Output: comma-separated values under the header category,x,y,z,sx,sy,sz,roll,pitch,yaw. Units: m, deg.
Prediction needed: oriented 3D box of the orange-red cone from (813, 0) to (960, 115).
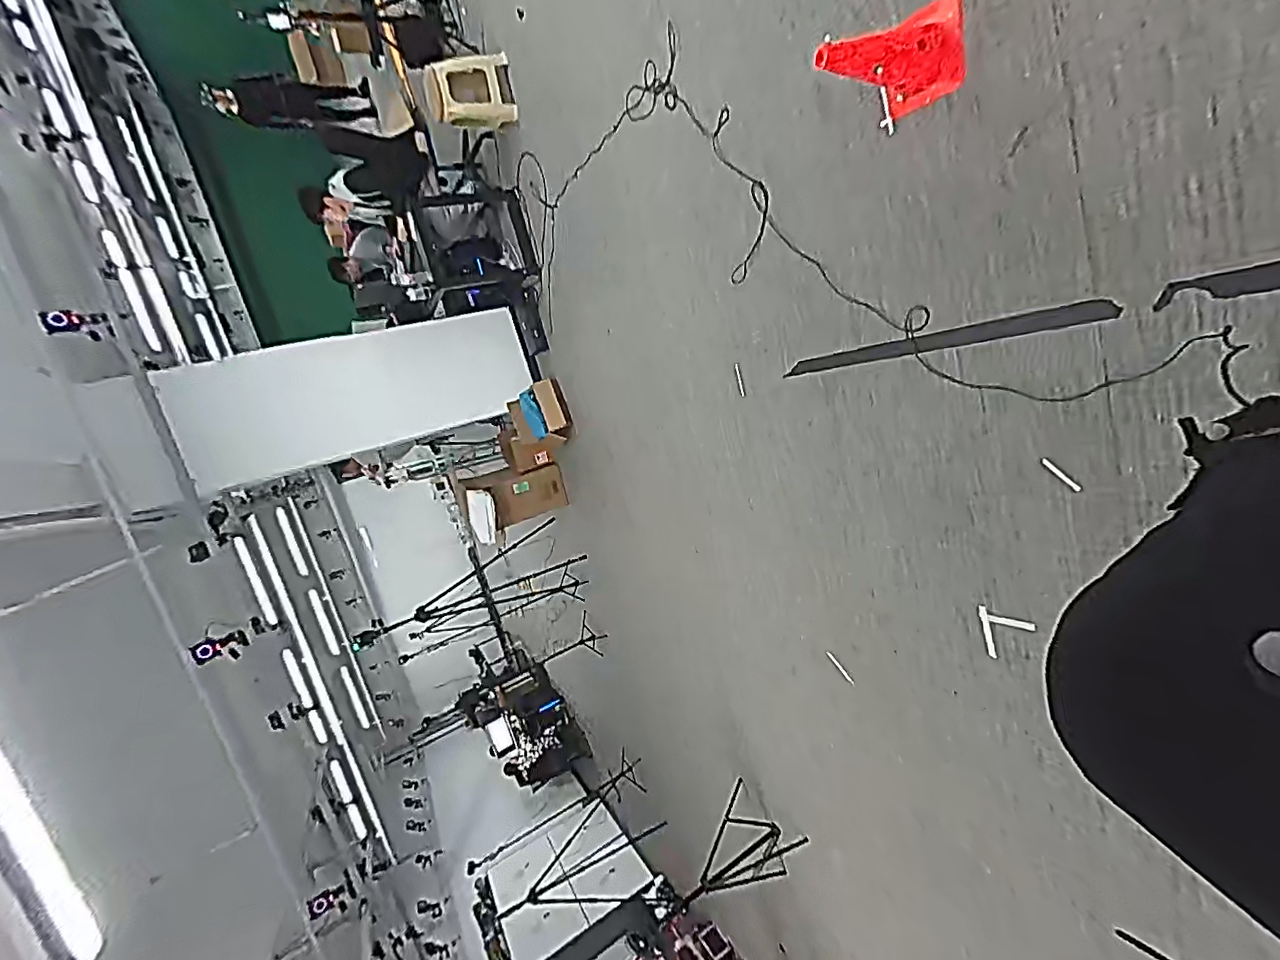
category,x,y,z,sx,sy,sz,roll,pitch,yaw
orange-red cone,0.538,-0.975,1.244,0.199,0.360,0.198,16,124,59
